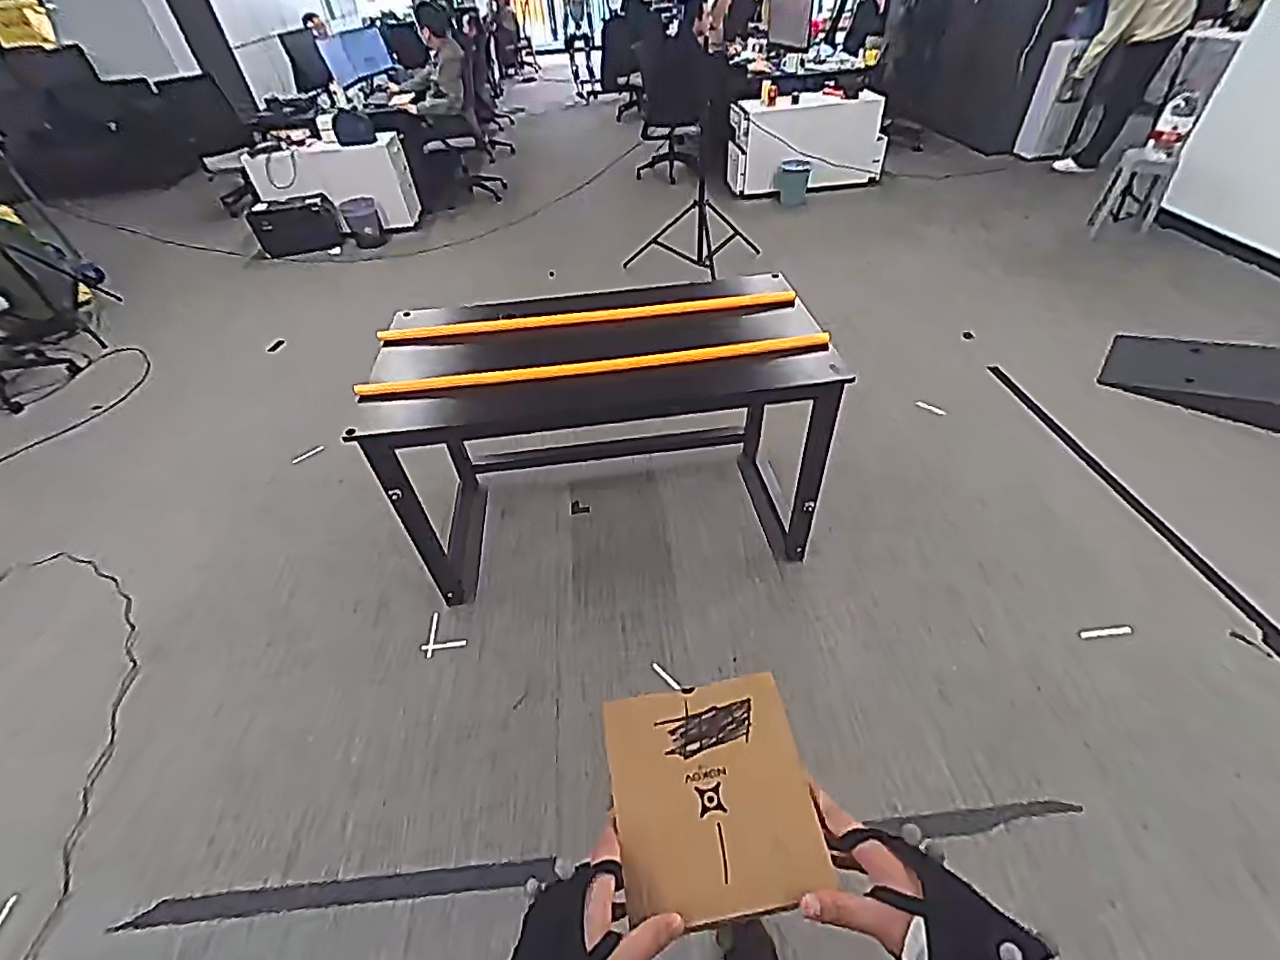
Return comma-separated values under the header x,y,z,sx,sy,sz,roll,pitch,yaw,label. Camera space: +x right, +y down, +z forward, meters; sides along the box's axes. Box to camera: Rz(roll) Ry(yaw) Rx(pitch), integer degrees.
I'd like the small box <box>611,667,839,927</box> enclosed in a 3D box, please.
x,y,z,sx,sy,sz,roll,pitch,yaw,label
0.067,0.311,0.530,0.168,0.176,0.179,-9,50,-3,small box
